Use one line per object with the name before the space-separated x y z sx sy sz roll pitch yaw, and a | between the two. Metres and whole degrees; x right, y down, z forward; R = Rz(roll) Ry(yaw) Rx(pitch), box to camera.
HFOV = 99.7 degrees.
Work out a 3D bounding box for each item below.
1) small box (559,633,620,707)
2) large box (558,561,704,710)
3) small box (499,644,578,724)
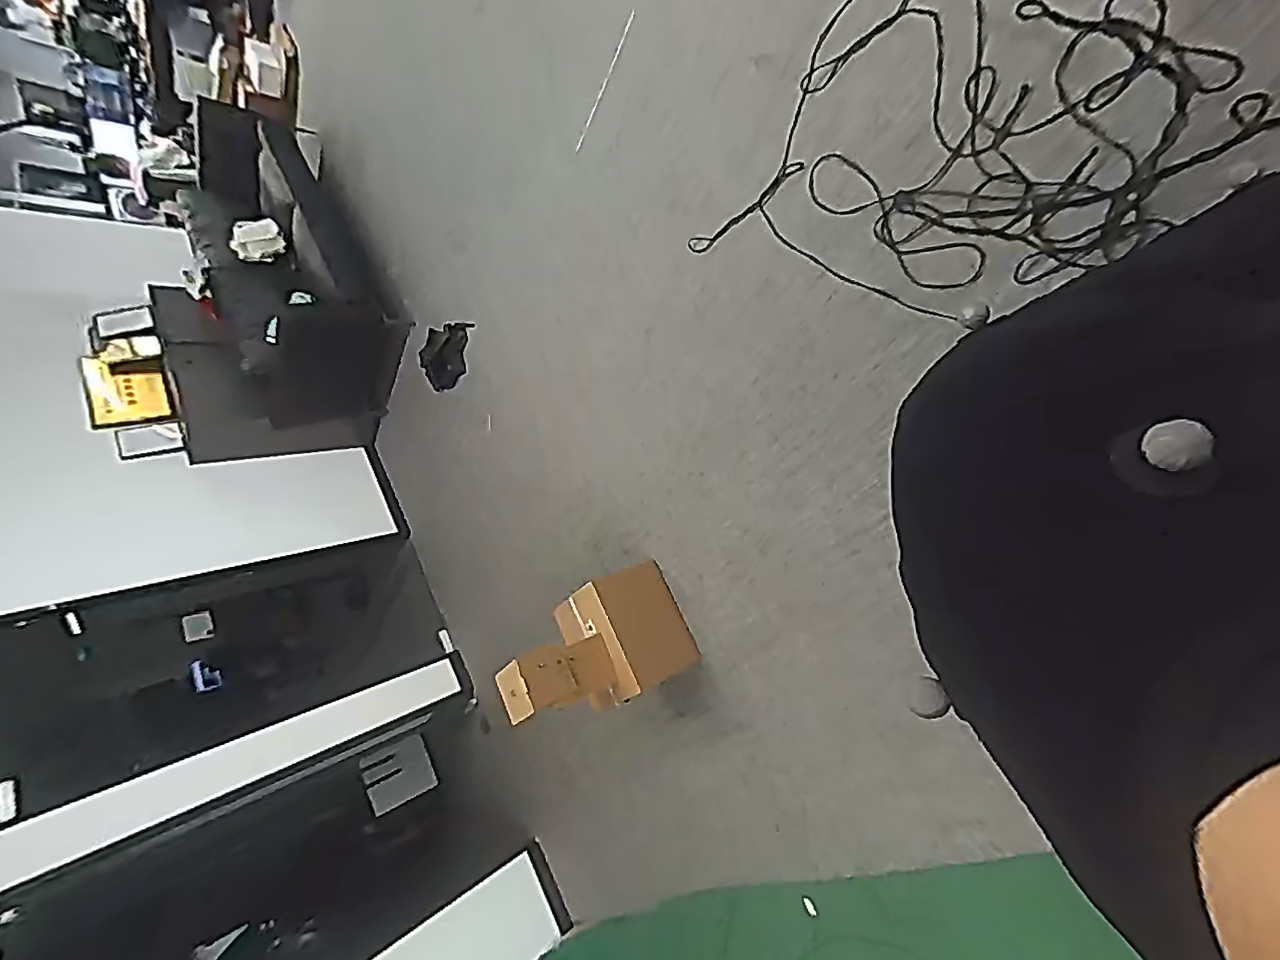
small box | -0.195 0.636 1.815 0.168 0.176 0.179 -36 72 45
large box | -0.037 0.564 1.991 0.320 0.320 0.408 -43 66 42
small box | -0.315 0.639 1.705 0.179 0.176 0.168 -47 63 43
